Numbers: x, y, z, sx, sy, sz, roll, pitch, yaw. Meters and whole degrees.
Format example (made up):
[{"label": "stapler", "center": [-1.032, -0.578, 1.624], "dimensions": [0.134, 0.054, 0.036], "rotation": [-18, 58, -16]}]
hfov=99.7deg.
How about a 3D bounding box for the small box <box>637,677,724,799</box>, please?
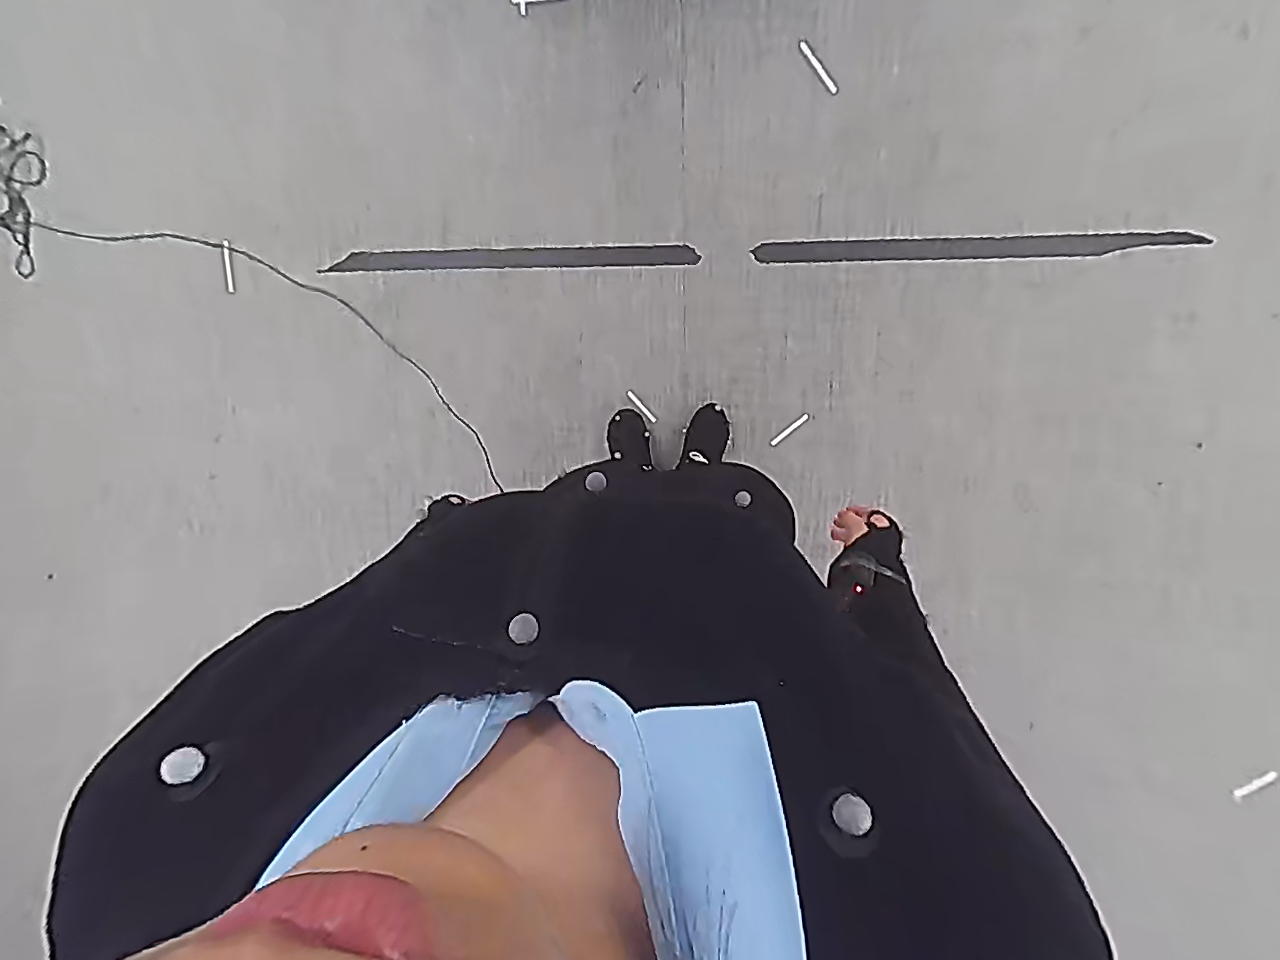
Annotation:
[{"label": "small box", "center": [0.089, 0.544, 1.151], "dimensions": [0.168, 0.176, 0.179], "rotation": [-5, 97, 6]}]
